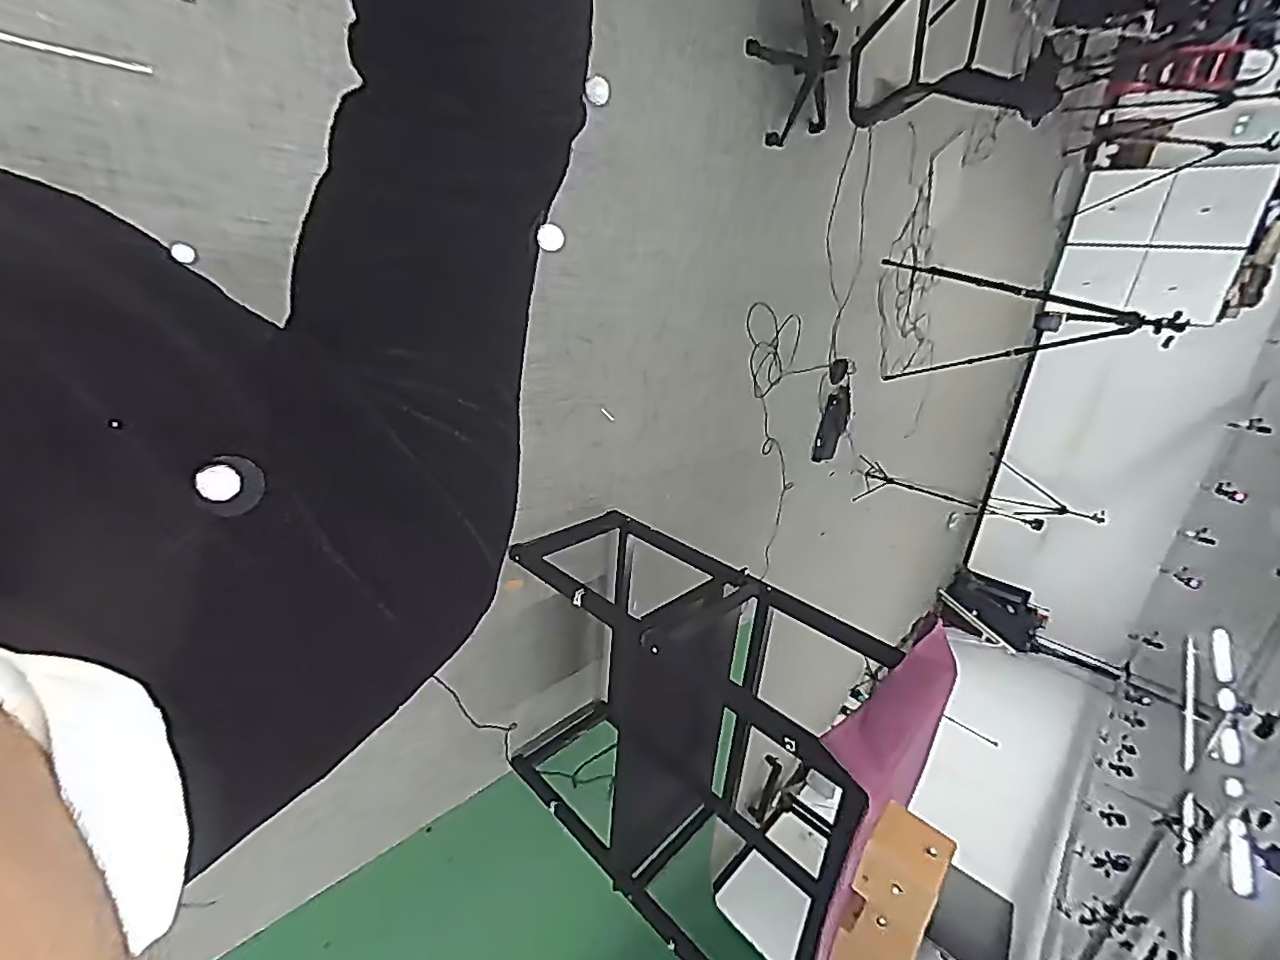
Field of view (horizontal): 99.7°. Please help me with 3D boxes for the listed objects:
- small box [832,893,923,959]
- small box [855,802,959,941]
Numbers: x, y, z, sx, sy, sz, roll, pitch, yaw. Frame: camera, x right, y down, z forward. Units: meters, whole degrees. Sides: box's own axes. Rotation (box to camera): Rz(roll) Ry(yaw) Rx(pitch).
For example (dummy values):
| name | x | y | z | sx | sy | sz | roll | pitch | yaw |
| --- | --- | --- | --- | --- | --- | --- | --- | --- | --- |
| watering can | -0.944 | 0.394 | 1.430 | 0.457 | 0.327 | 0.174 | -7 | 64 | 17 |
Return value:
| name | x | y | z | sx | sy | sz | roll | pitch | yaw |
| --- | --- | --- | --- | --- | --- | --- | --- | --- | --- |
| small box | 0.628 | 1.241 | 1.433 | 0.168 | 0.176 | 0.179 | -16 | 119 | -44 |
| small box | 0.652 | 0.950 | 1.329 | 0.179 | 0.176 | 0.168 | -17 | 119 | -45 |
